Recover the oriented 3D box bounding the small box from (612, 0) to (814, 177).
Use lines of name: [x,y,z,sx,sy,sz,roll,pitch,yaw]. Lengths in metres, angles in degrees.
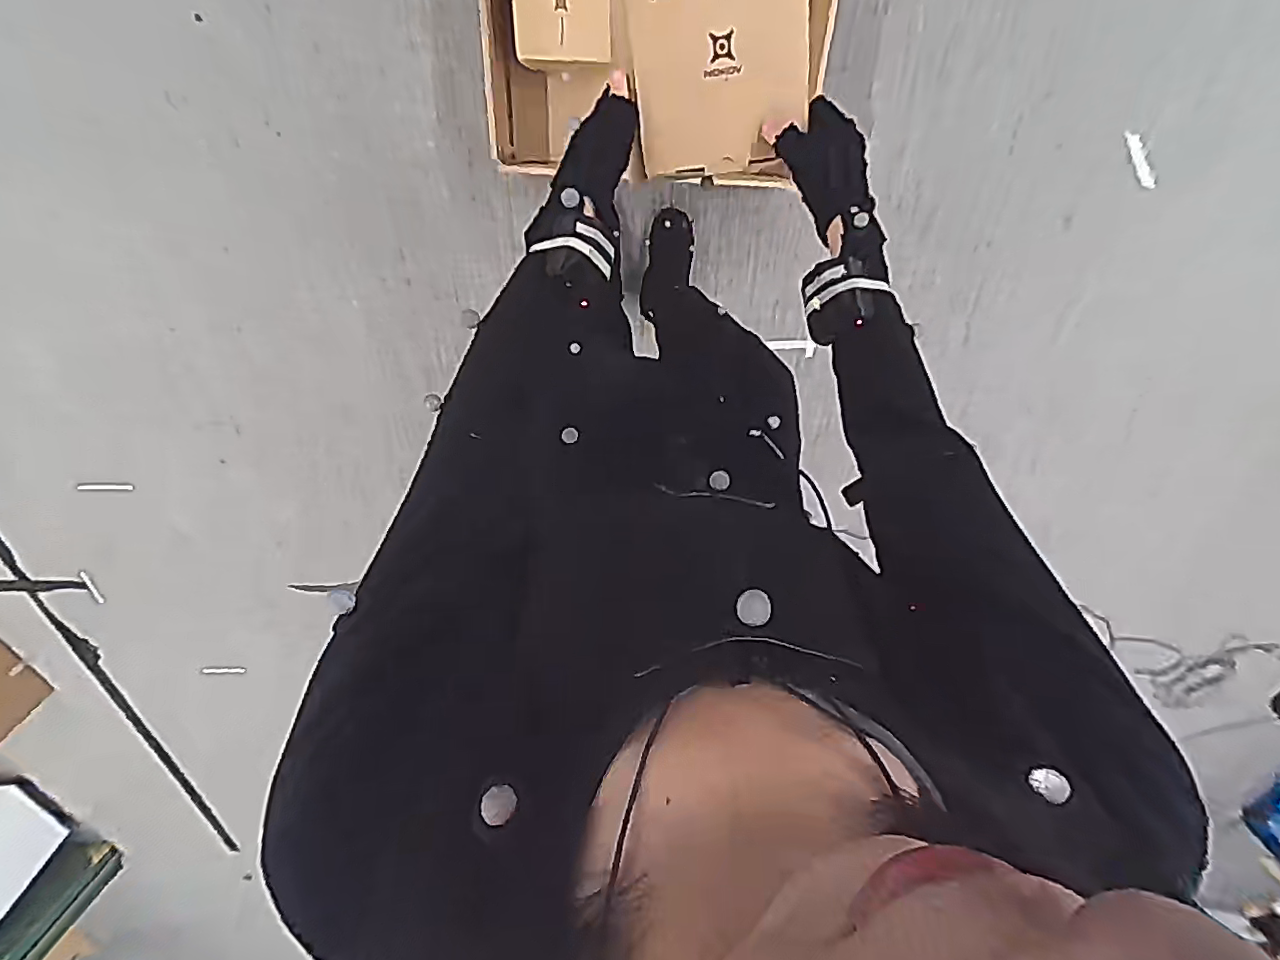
small box: [0.067,-0.419,0.556,0.168,0.176,0.179,-9,117,-3]
